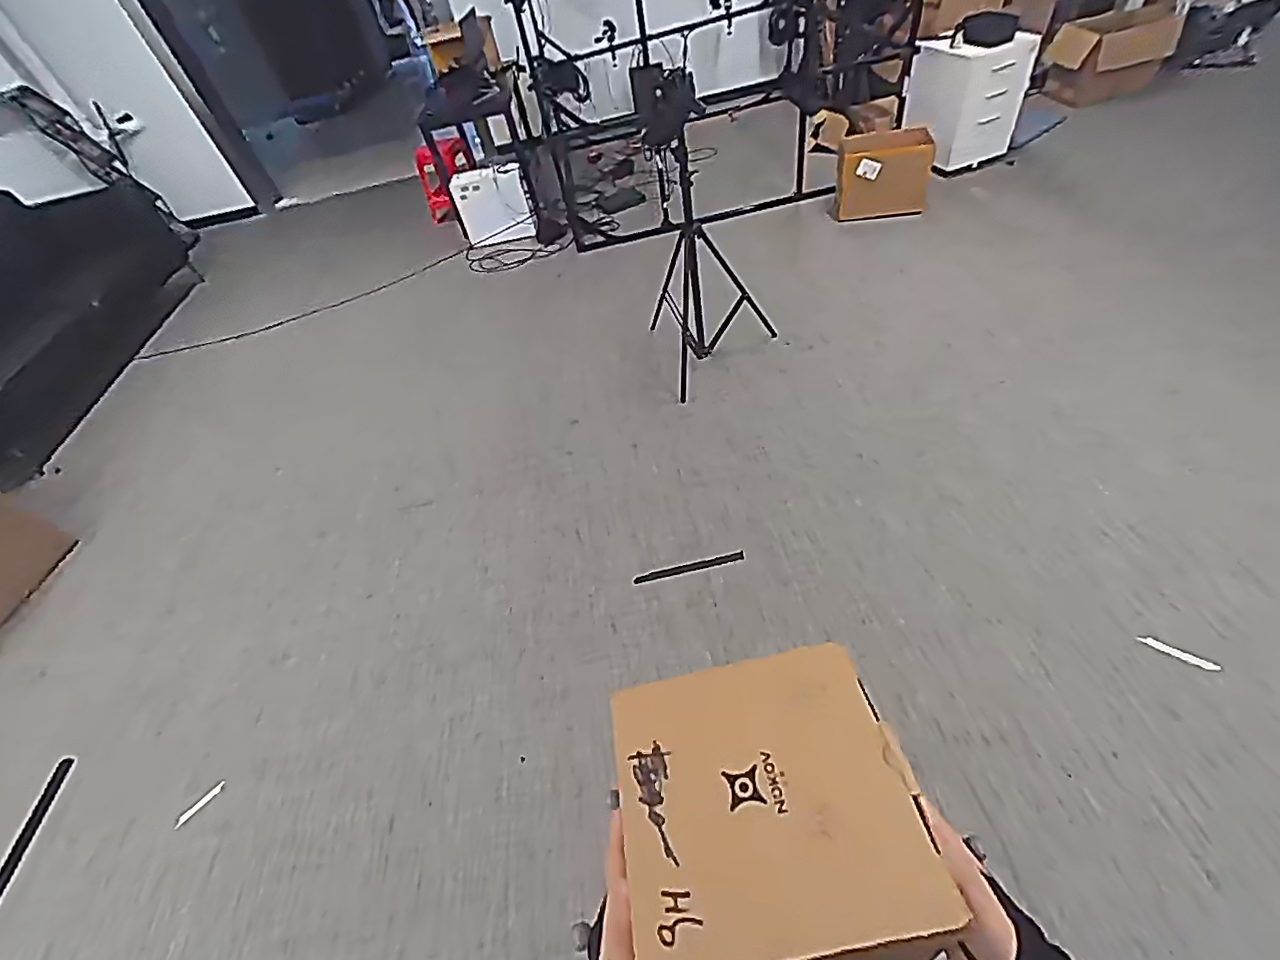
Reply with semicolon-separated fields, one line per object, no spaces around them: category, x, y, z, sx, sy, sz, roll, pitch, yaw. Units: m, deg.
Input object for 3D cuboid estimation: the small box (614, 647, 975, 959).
small box;0.089;0.249;0.385;0.179;0.176;0.168;-13;40;0
